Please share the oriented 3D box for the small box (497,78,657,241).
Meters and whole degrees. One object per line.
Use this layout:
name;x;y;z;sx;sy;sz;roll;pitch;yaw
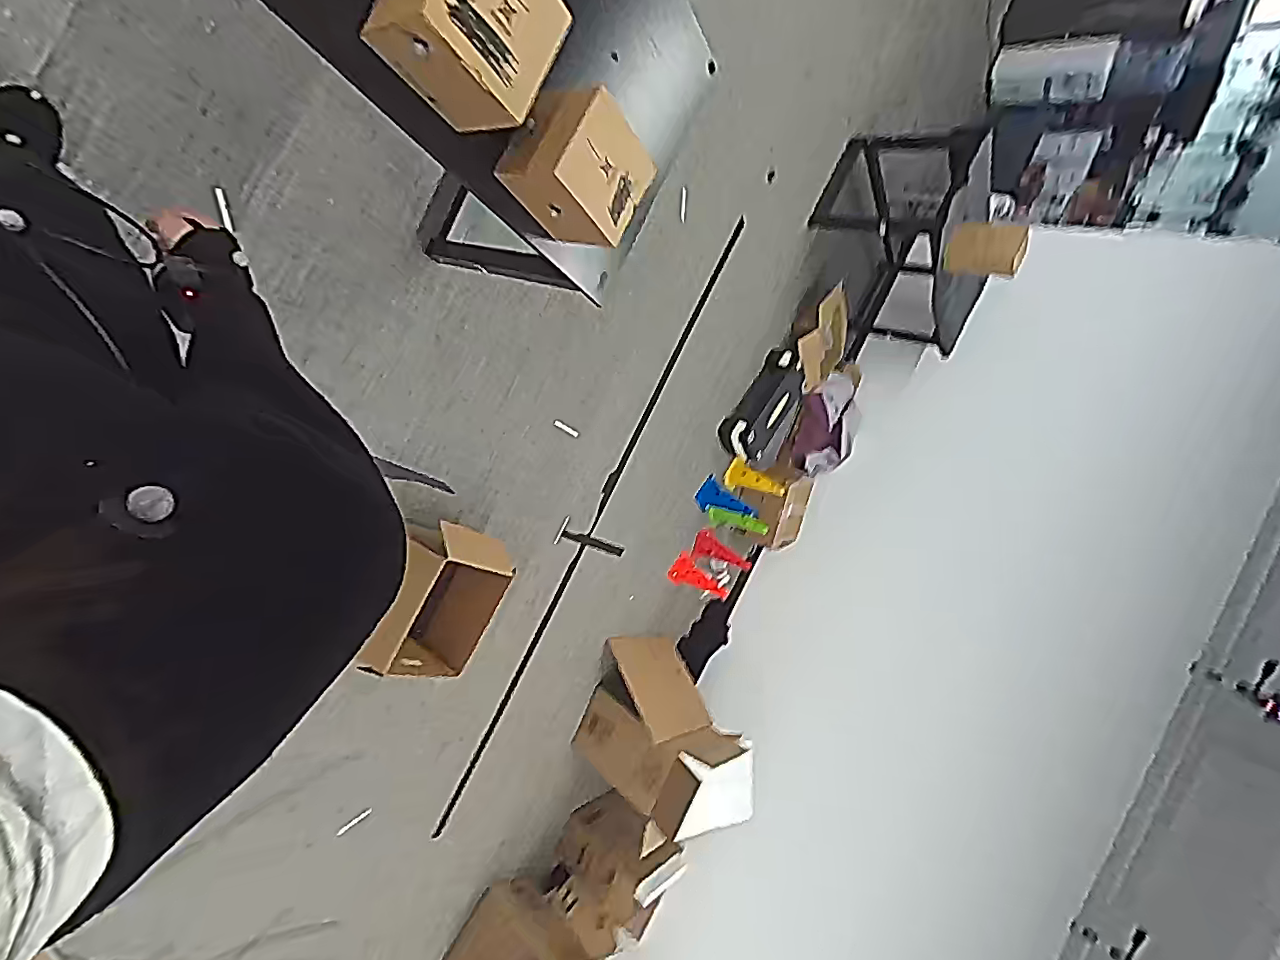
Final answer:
small box;-0.108;-0.543;0.931;0.179;0.176;0.168;30;85;-53
